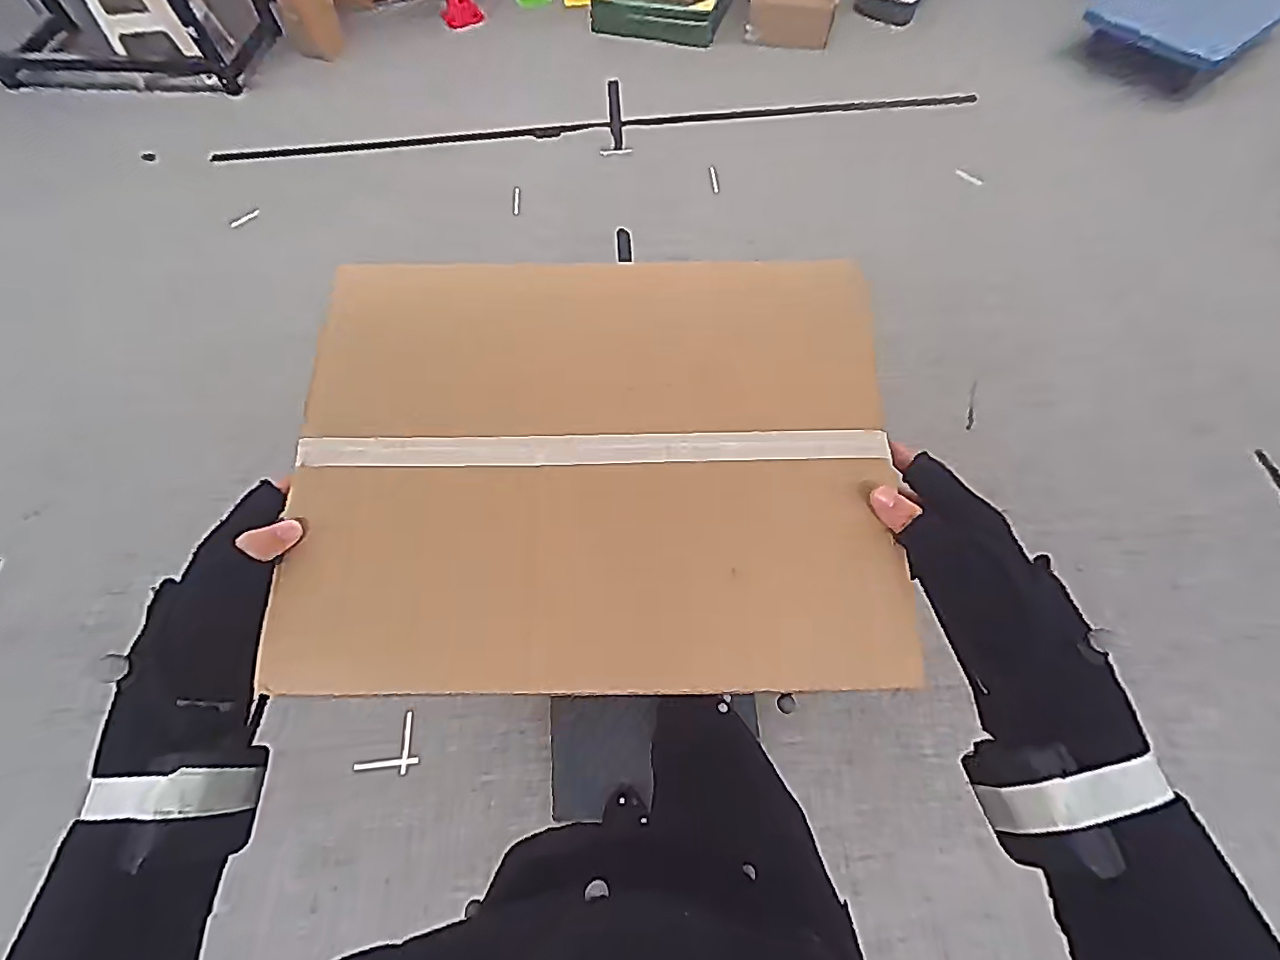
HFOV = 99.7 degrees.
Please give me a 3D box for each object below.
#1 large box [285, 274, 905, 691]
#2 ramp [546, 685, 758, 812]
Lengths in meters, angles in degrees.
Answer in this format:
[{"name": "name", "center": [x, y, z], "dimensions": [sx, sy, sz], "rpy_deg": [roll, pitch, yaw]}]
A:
[{"name": "large box", "center": [-0.029, 0.027, 0.529], "dimensions": [0.408, 0.320, 0.320], "rpy_deg": [0, 71, 0]}, {"name": "ramp", "center": [0.000, 0.267, 1.376], "dimensions": [0.509, 0.206, 0.991], "rpy_deg": [-5, 65, -3]}]
